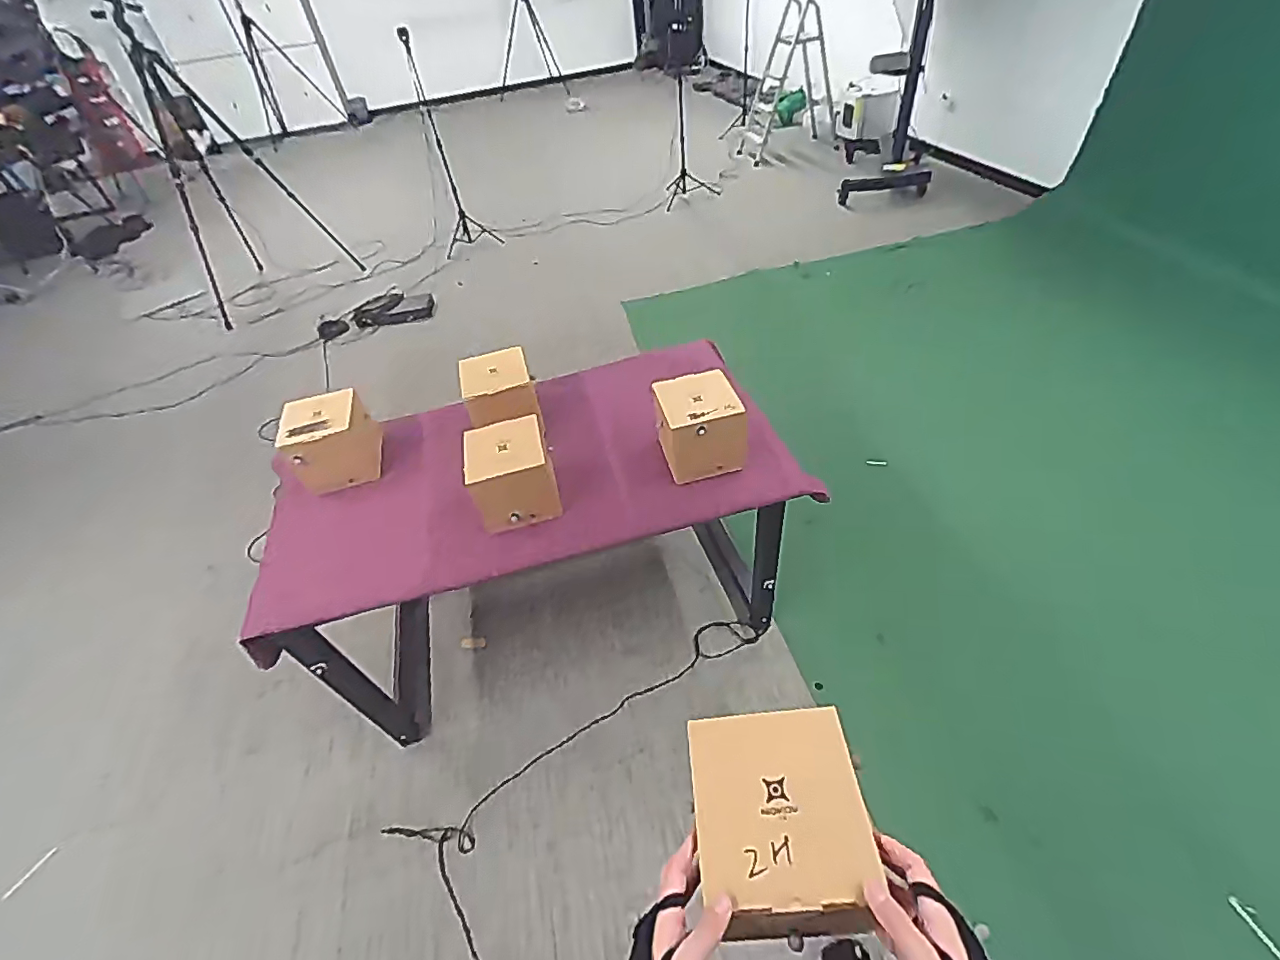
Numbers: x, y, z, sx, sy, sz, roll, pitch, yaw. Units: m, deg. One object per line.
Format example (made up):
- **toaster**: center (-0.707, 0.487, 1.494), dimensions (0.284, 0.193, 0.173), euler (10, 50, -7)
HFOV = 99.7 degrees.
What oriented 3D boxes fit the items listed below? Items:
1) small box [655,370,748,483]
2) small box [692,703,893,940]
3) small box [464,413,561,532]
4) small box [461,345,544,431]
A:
- **small box**: center (0.136, -0.121, 1.227), dimensions (0.168, 0.176, 0.179), euler (-14, 43, -4)
- **small box**: center (0.149, 0.369, 0.585), dimensions (0.168, 0.176, 0.179), euler (-8, 42, 6)
- **small box**: center (-0.278, -0.016, 1.184), dimensions (0.168, 0.176, 0.179), euler (-14, 45, -5)
- **small box**: center (-0.353, -0.216, 1.391), dimensions (0.168, 0.176, 0.179), euler (-15, 47, -8)
